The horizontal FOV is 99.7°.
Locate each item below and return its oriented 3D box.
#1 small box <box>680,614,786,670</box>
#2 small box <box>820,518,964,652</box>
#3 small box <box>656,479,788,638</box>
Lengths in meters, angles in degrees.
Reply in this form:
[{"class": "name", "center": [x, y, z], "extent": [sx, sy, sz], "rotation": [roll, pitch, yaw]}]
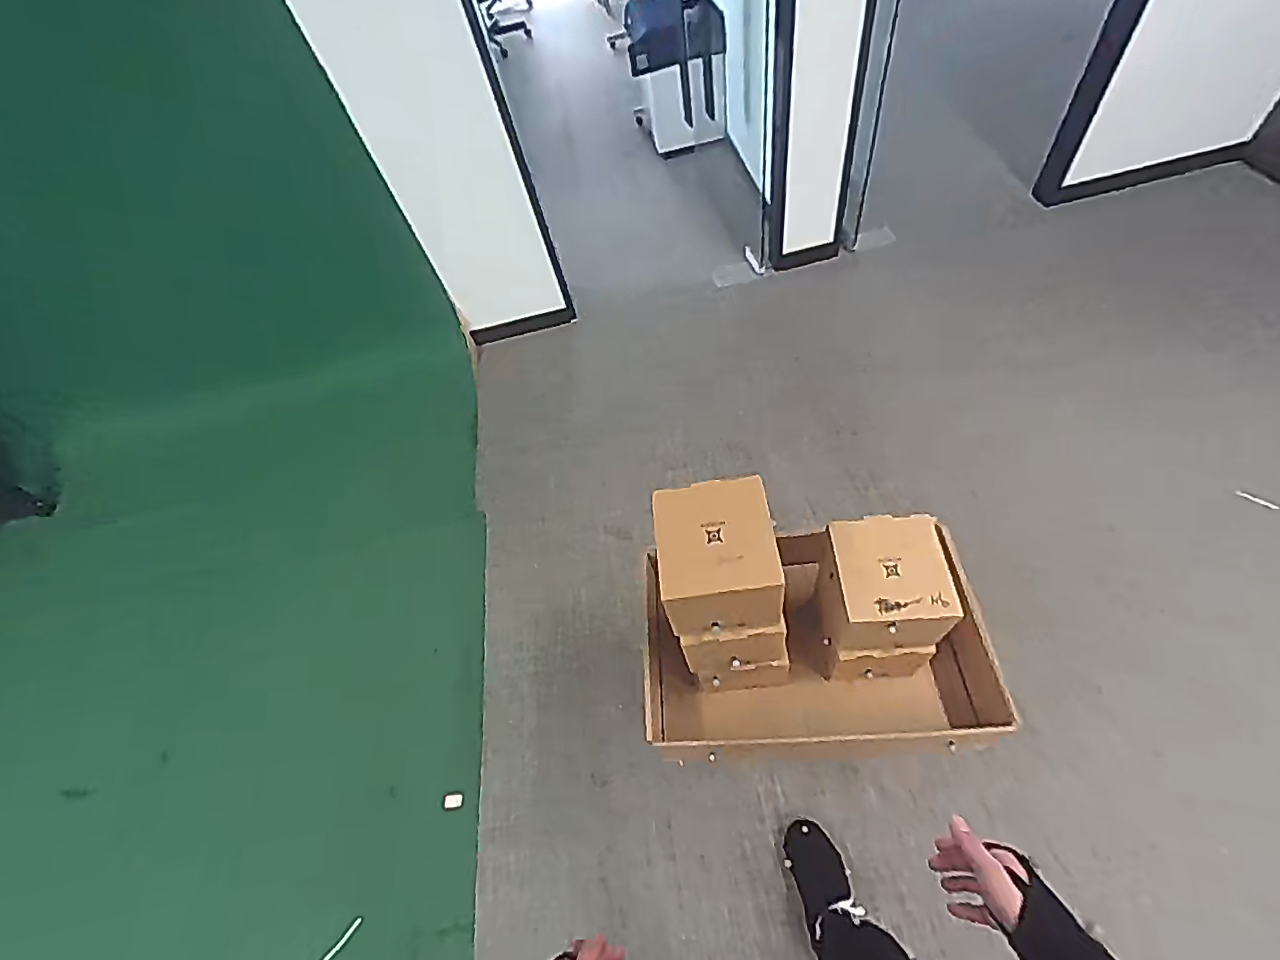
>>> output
[{"class": "small box", "center": [0.150, 0.216, 0.942], "extent": [0.168, 0.176, 0.179], "rotation": [-9, 57, 5]}, {"class": "small box", "center": [0.410, 0.182, 0.918], "extent": [0.168, 0.176, 0.179], "rotation": [-5, 58, 8]}, {"class": "small box", "center": [0.119, 0.122, 0.812], "extent": [0.168, 0.176, 0.179], "rotation": [-8, 57, 6]}]
